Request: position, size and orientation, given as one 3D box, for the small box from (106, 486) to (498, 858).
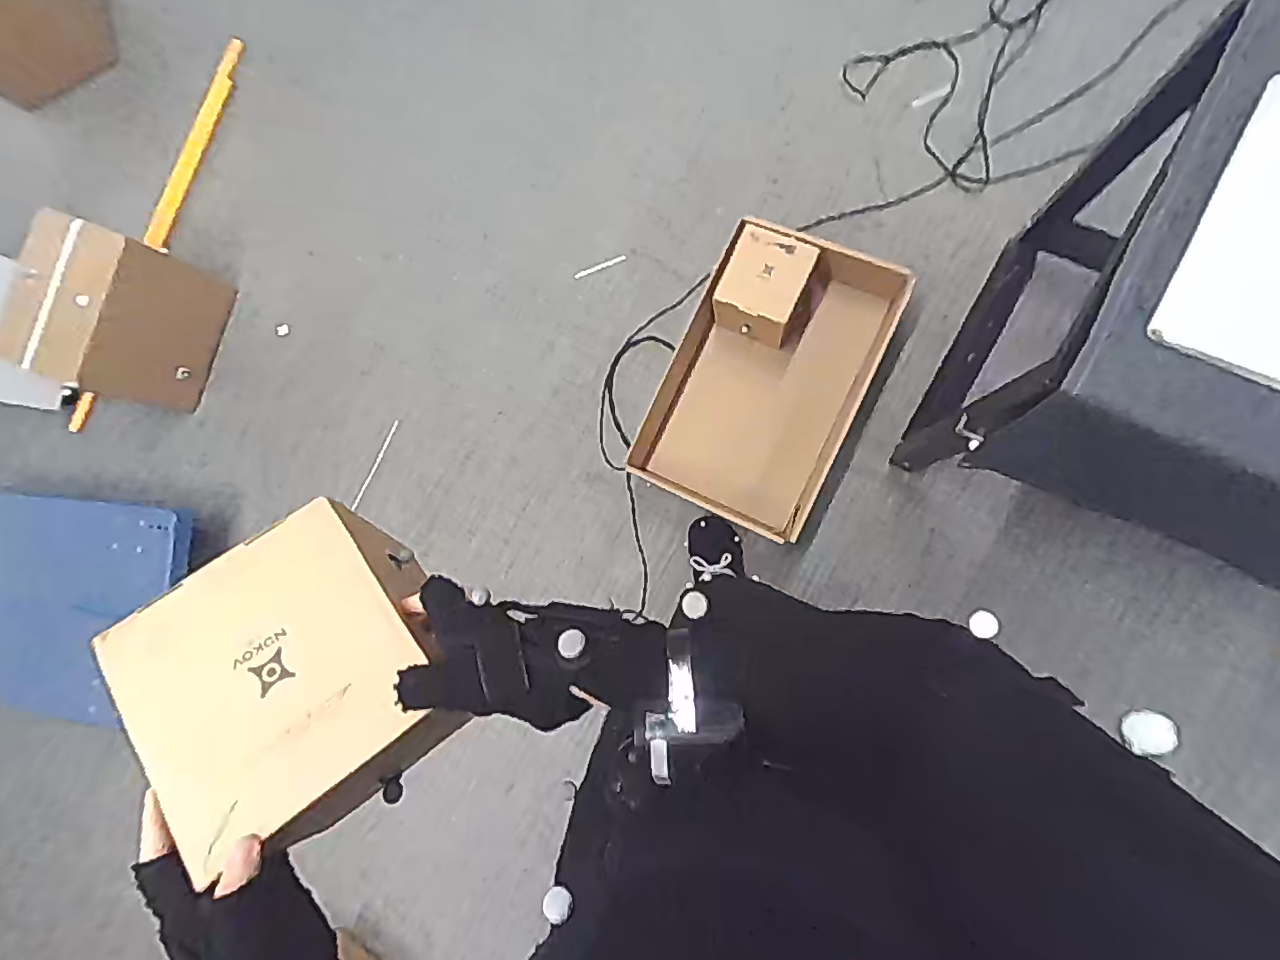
[{"bbox_3d":[-0.237,0.140,0.423,0.168,0.176,0.179,-35,72,-14],"label":"small box"}]
